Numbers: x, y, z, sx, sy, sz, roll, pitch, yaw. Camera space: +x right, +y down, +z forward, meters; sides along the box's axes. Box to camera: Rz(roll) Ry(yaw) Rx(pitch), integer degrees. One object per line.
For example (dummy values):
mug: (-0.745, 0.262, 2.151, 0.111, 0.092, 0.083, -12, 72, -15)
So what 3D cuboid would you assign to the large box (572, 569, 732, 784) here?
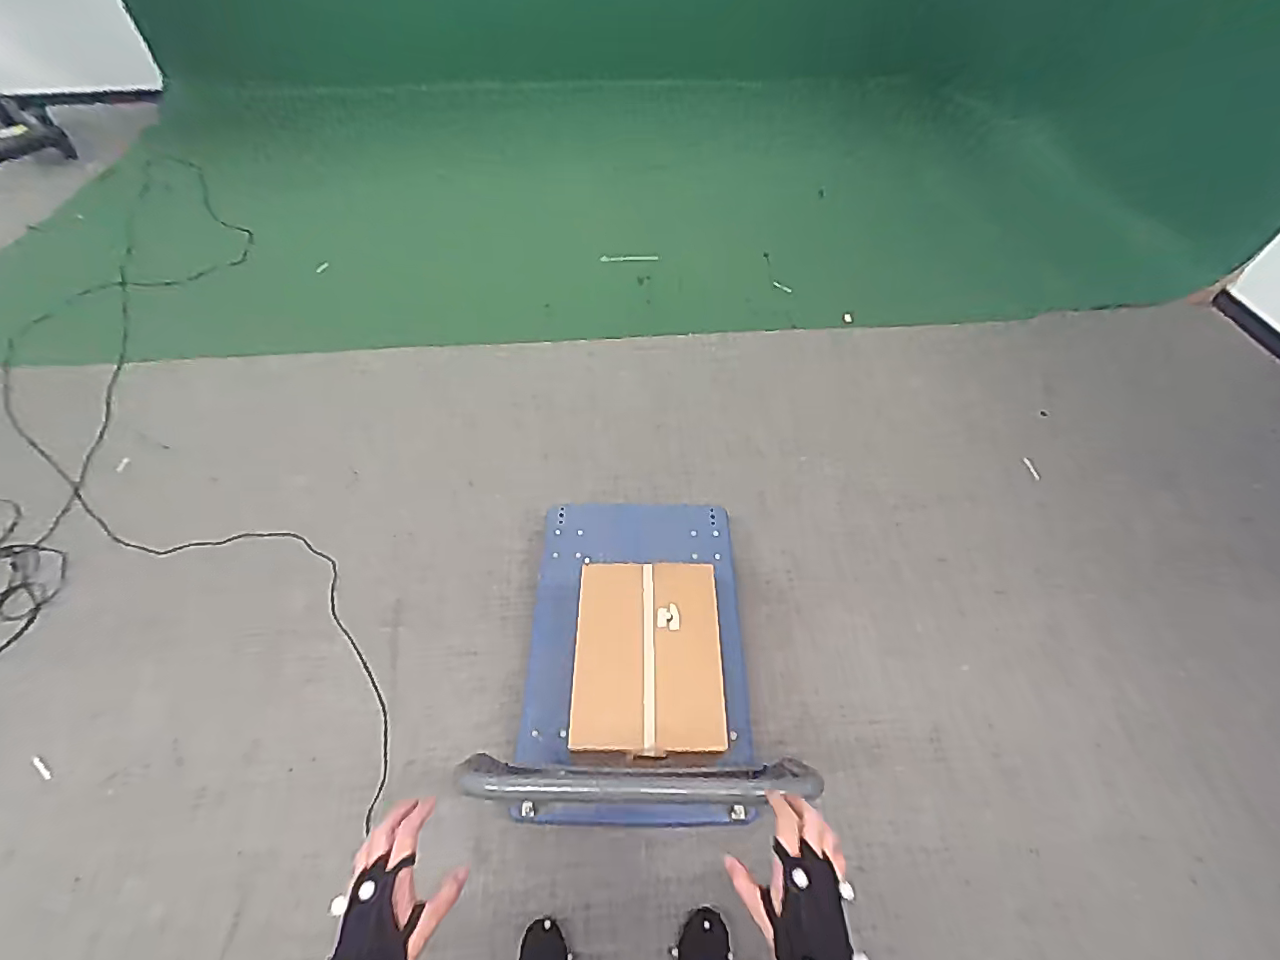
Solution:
large box: (0.022, 0.460, 1.265, 0.320, 0.320, 0.408, 1, 52, -1)
